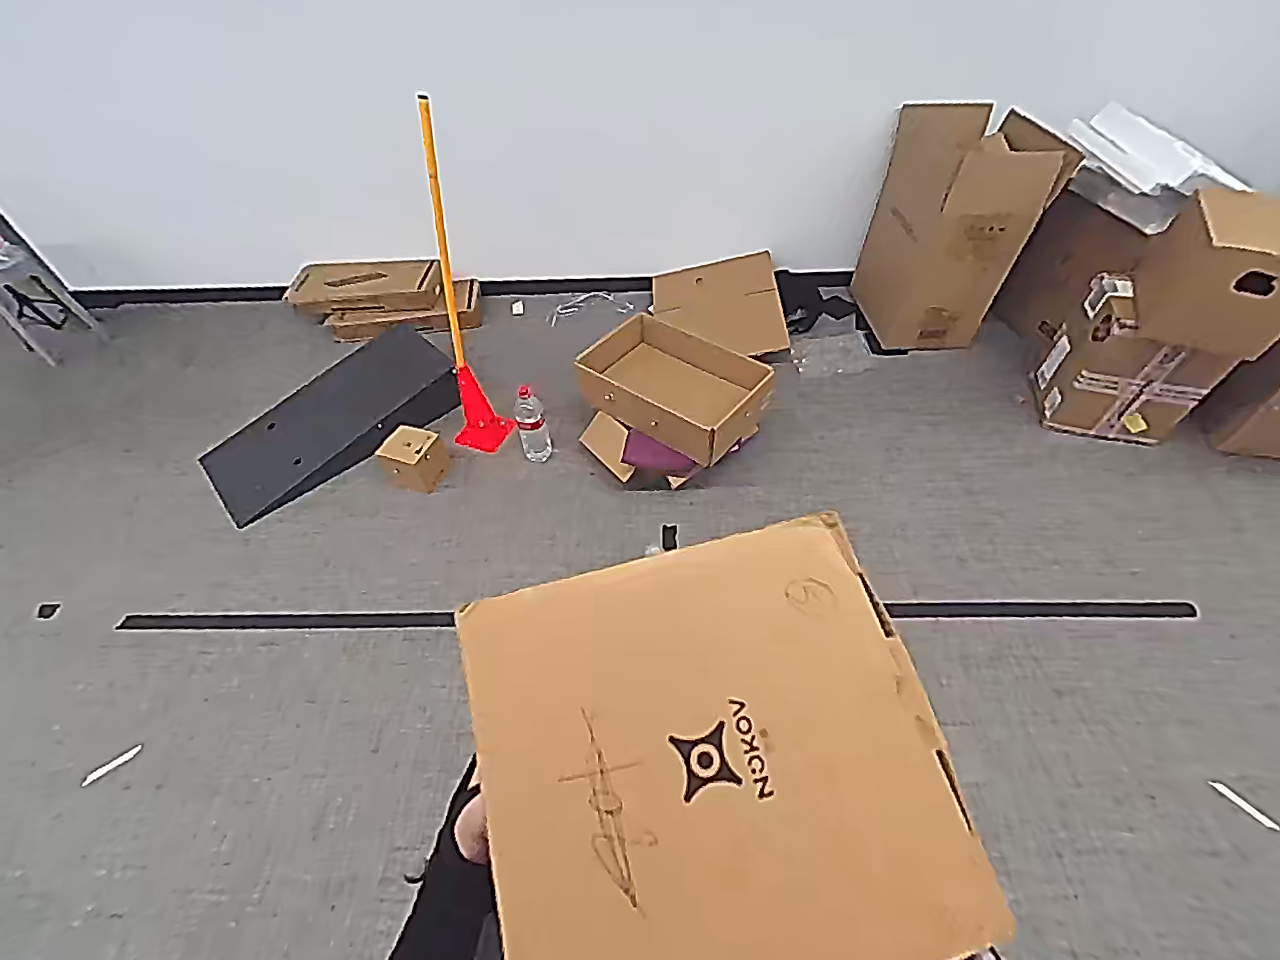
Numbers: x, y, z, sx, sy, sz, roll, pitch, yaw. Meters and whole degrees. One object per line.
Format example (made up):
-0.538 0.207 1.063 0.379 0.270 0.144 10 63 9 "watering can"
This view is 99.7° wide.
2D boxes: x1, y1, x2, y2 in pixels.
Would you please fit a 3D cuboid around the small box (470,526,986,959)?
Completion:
0.025 0.144 0.294 0.179 0.176 0.168 -14 67 -8 "small box"
